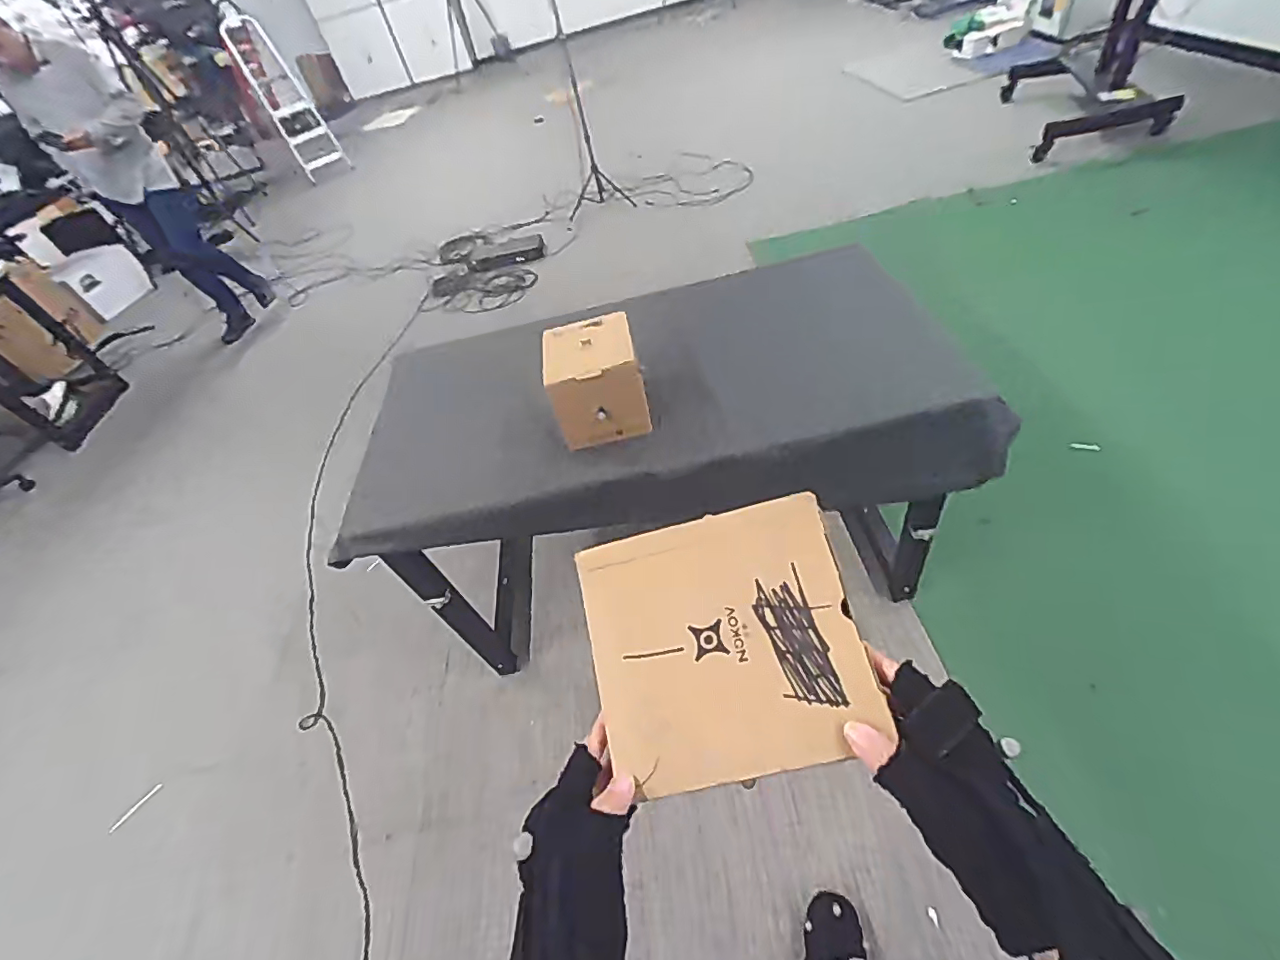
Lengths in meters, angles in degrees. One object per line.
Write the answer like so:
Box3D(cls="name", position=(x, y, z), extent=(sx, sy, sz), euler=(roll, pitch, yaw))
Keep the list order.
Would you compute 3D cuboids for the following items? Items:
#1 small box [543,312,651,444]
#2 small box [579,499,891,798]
Box3D(cls="small box", position=(-0.080, -0.187, 1.036), extent=(0.168, 0.176, 0.179), euler=(-13, 48, 4))
Box3D(cls="small box", position=(0.066, 0.130, 0.433), extent=(0.179, 0.176, 0.168), euler=(-14, 69, 5))
